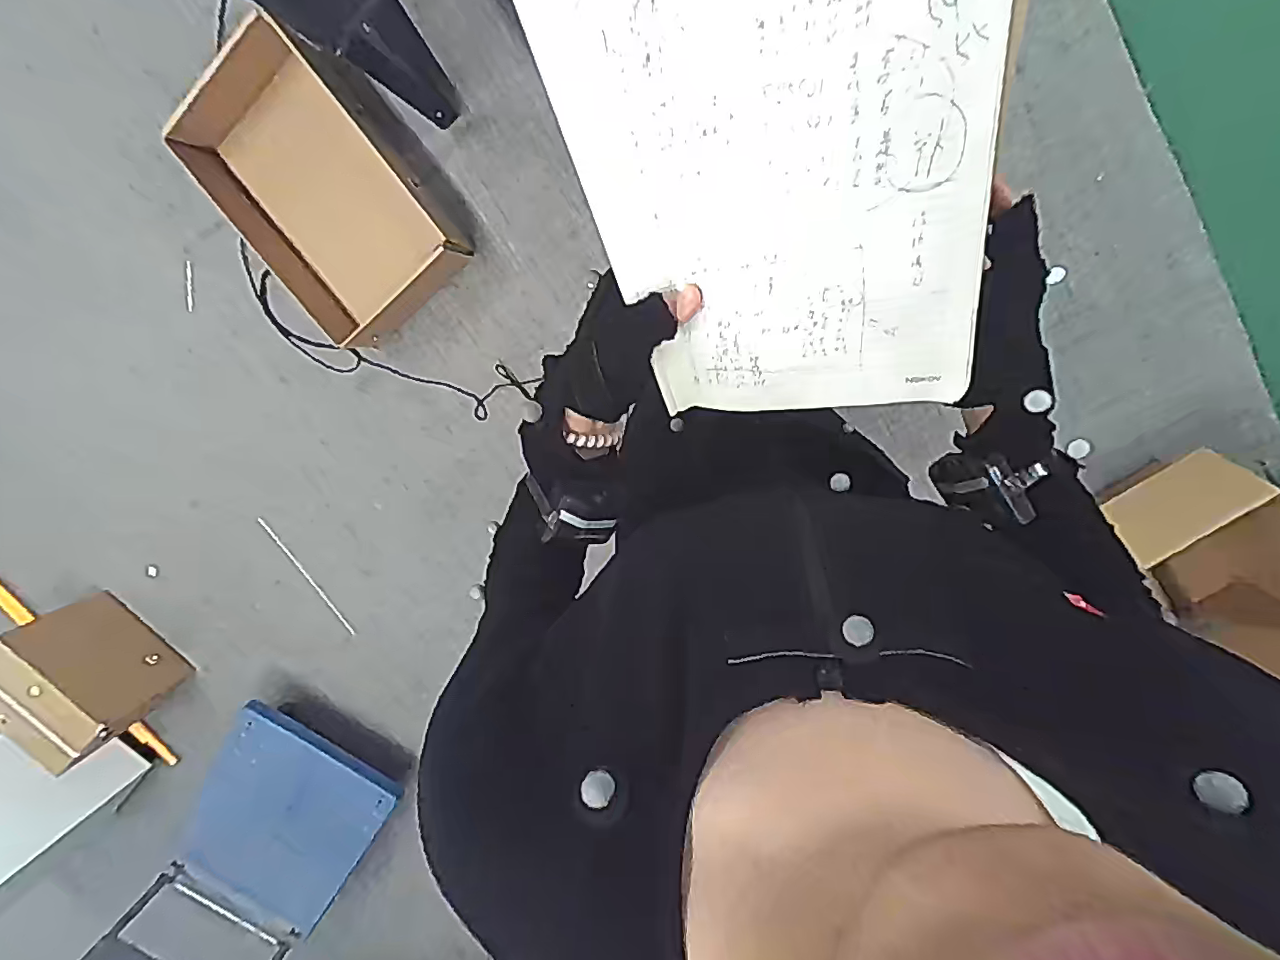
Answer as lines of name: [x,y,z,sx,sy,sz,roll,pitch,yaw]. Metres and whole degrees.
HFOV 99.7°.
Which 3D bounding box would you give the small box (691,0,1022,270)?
small box: [0.128,-0.250,0.389,0.179,0.176,0.168,-2,115,6]
